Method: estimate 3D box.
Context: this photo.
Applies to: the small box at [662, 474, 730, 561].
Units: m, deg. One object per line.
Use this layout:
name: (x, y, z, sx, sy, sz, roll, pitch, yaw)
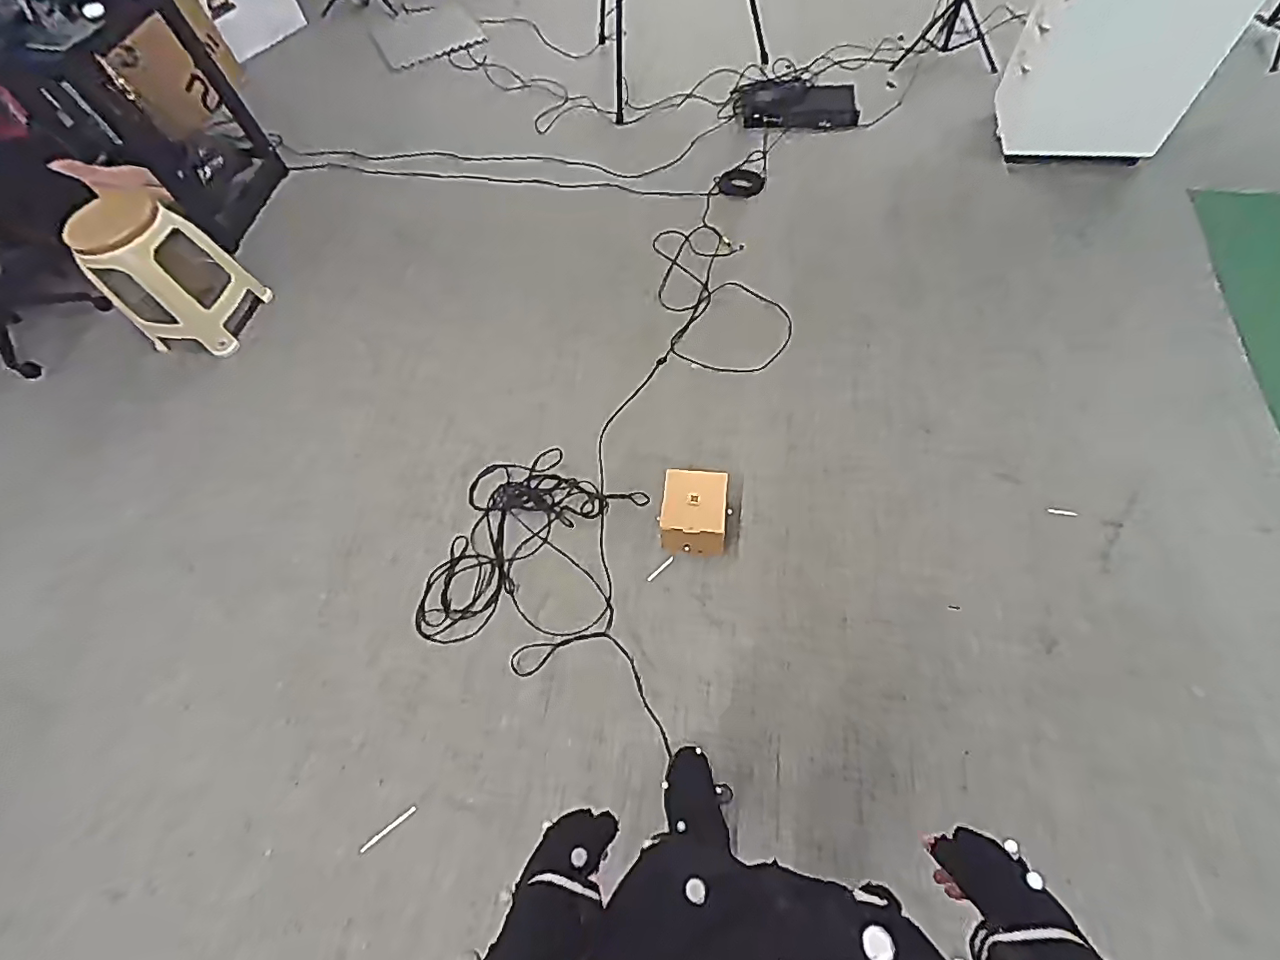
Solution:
small box: (0.154, 0.105, 1.475, 0.168, 0.176, 0.179, 4, 63, 9)
